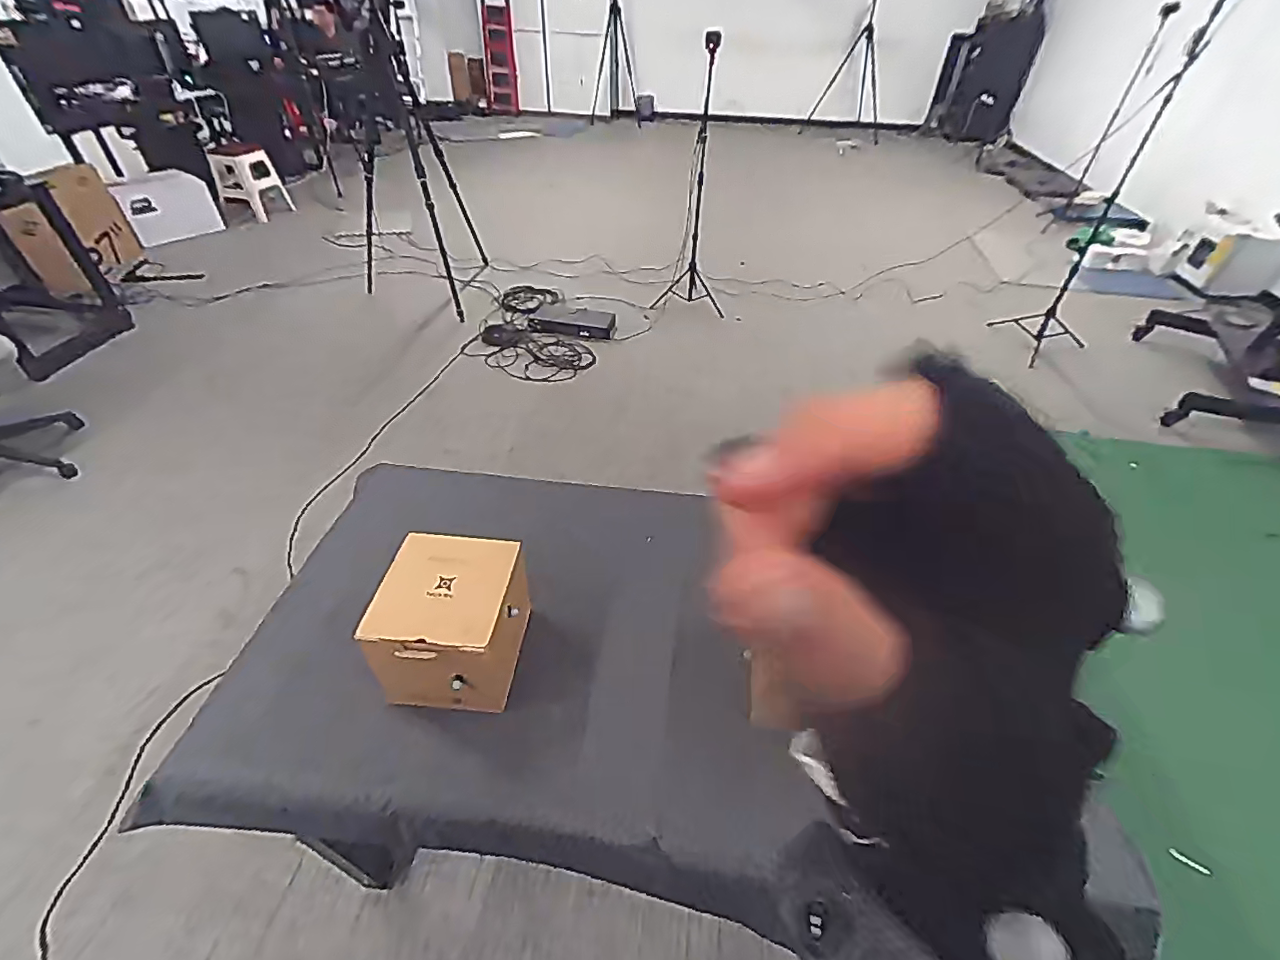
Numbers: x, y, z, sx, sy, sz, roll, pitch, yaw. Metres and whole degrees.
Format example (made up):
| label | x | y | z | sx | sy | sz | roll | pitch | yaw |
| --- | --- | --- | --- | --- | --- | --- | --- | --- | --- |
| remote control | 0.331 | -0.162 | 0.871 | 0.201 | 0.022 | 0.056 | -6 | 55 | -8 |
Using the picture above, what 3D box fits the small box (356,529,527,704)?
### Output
| label | x | y | z | sx | sy | sz | roll | pitch | yaw |
| --- | --- | --- | --- | --- | --- | --- | --- | --- | --- |
| small box | -0.261 | 0.194 | 0.766 | 0.168 | 0.176 | 0.179 | 5 | 41 | 1 |
